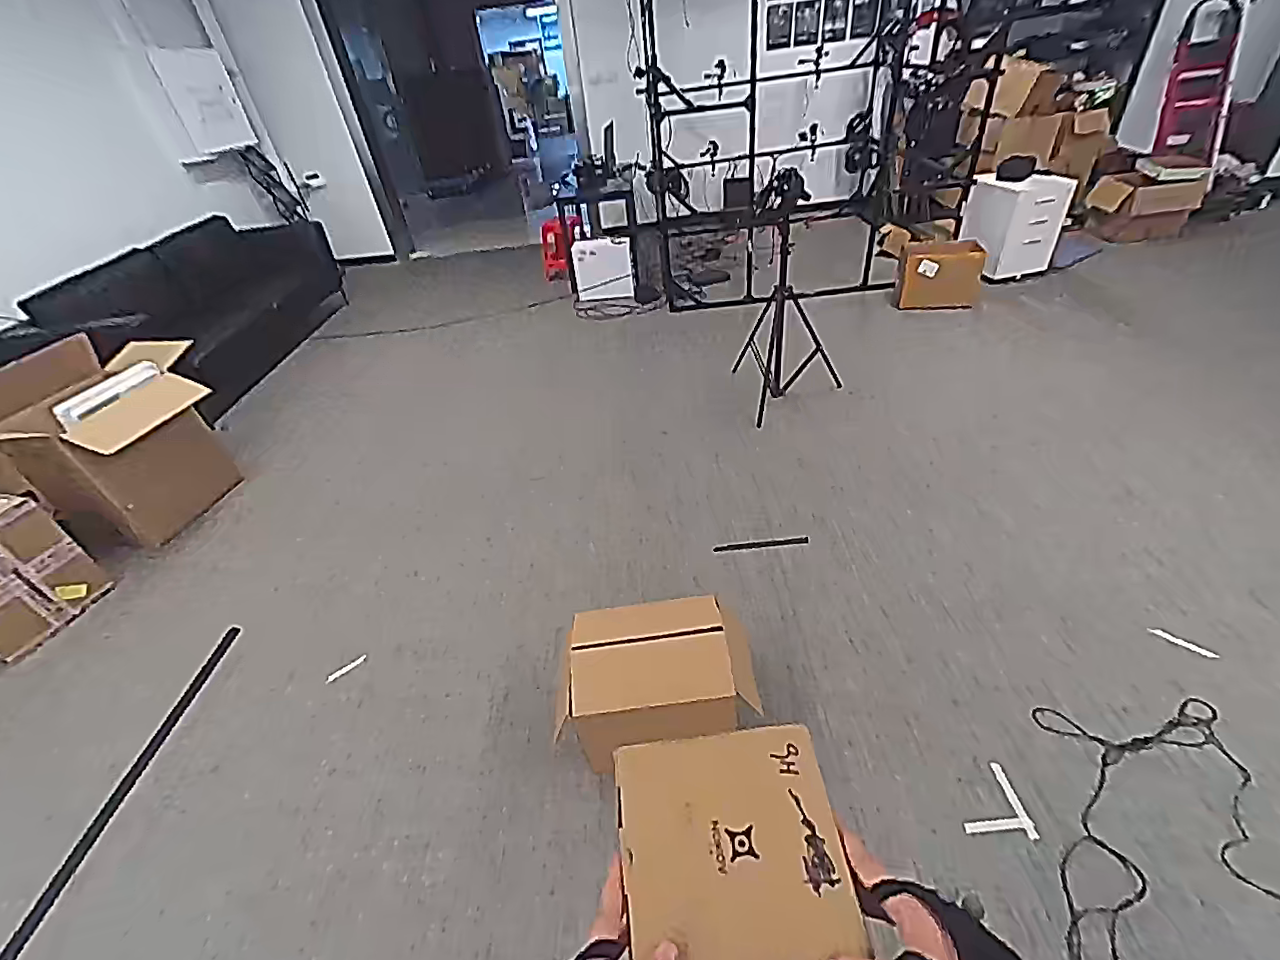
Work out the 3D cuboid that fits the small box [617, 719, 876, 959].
[{"bbox_3d":[0.078,0.336,0.486,0.179,0.176,0.168,-6,49,-2],"label":"small box"}]
